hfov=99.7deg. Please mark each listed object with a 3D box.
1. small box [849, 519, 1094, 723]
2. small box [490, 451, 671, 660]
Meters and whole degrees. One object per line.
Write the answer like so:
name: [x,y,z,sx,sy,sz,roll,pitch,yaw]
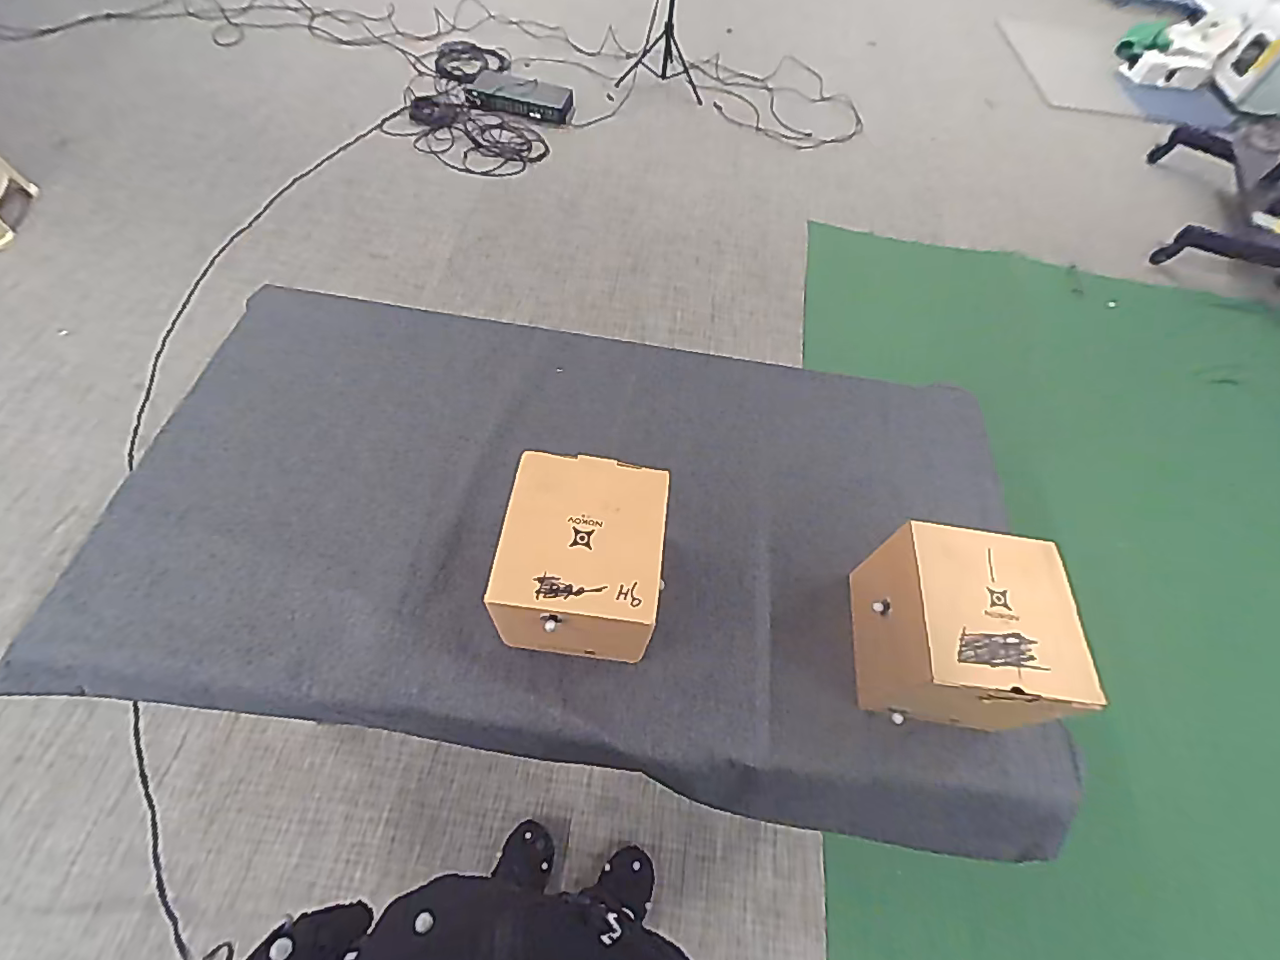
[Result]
small box: [0.357,0.170,0.625,0.168,0.176,0.179,9,58,0]
small box: [-0.063,0.093,0.629,0.168,0.176,0.179,8,58,-1]
